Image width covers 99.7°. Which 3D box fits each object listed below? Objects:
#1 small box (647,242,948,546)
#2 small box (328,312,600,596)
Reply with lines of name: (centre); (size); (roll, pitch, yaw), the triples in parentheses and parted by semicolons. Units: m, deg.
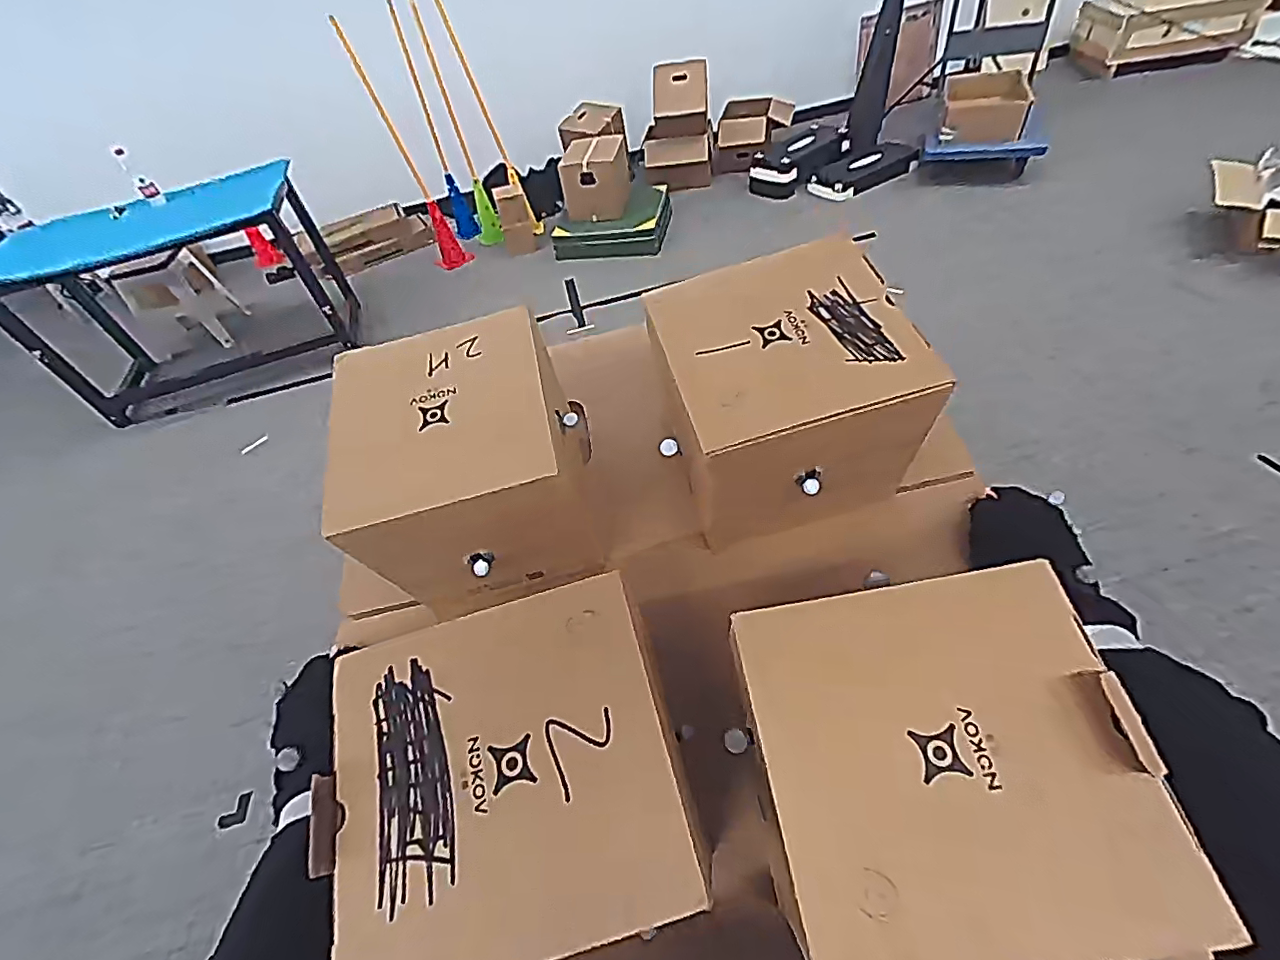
small box: (0.116, -0.063, 0.466); (0.179, 0.176, 0.168); (-16, 59, 1)
small box: (-0.140, -0.010, 0.477); (0.168, 0.176, 0.179); (-14, 59, 0)
